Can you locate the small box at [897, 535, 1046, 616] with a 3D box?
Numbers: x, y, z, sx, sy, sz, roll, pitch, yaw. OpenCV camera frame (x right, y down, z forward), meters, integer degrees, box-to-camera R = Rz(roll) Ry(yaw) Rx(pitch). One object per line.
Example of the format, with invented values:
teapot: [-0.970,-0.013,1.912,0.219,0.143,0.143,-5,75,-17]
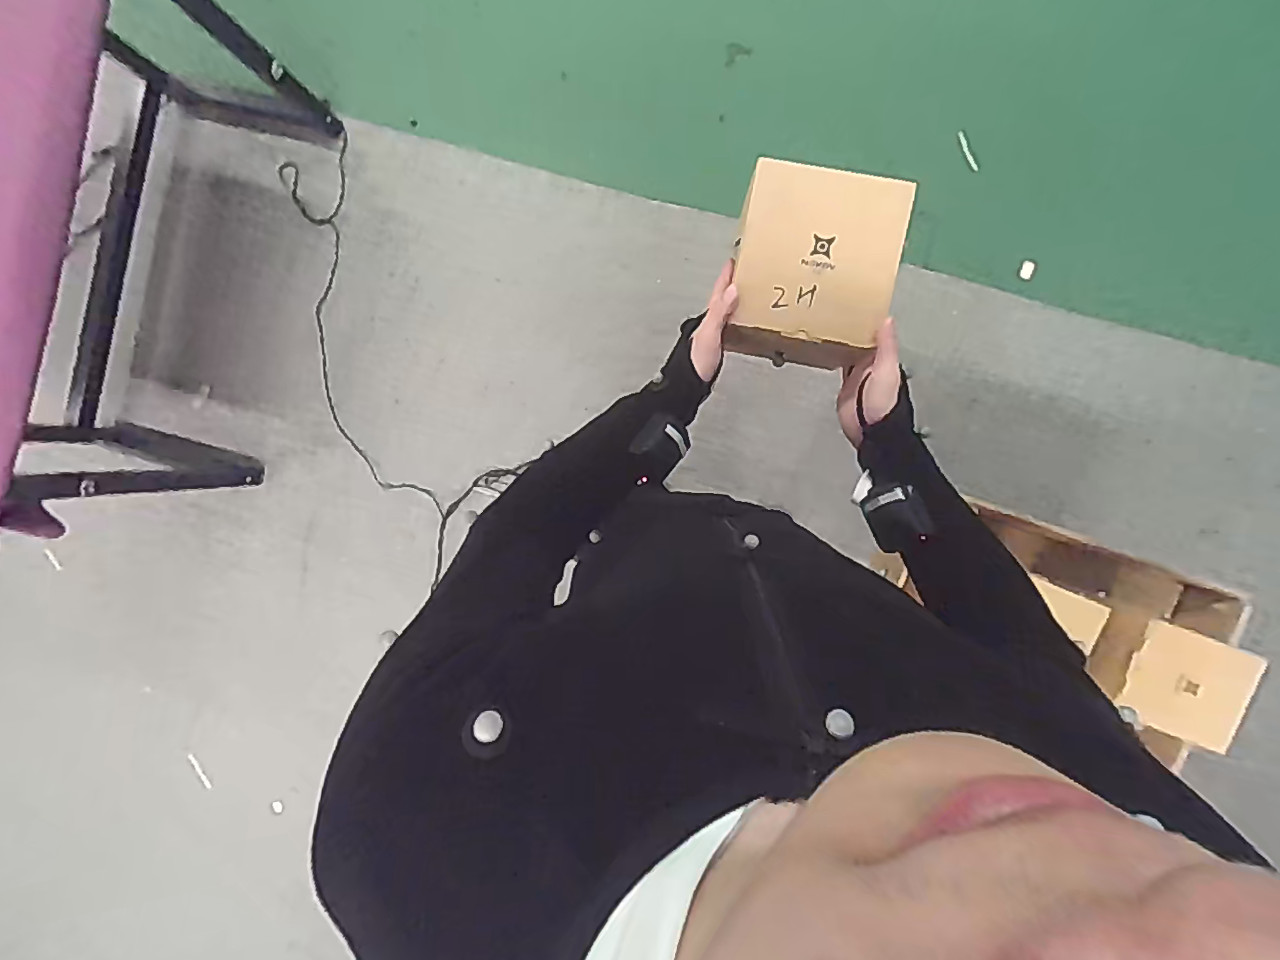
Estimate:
small box: [0.658,0.220,1.099,0.179,0.176,0.168,21,95,3]

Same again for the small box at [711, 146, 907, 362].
small box: [0.183,-0.251,0.641,0.168,0.176,0.179,12,95,3]

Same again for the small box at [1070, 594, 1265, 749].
small box: [0.863,0.313,0.924,0.179,0.176,0.168,21,95,6]
